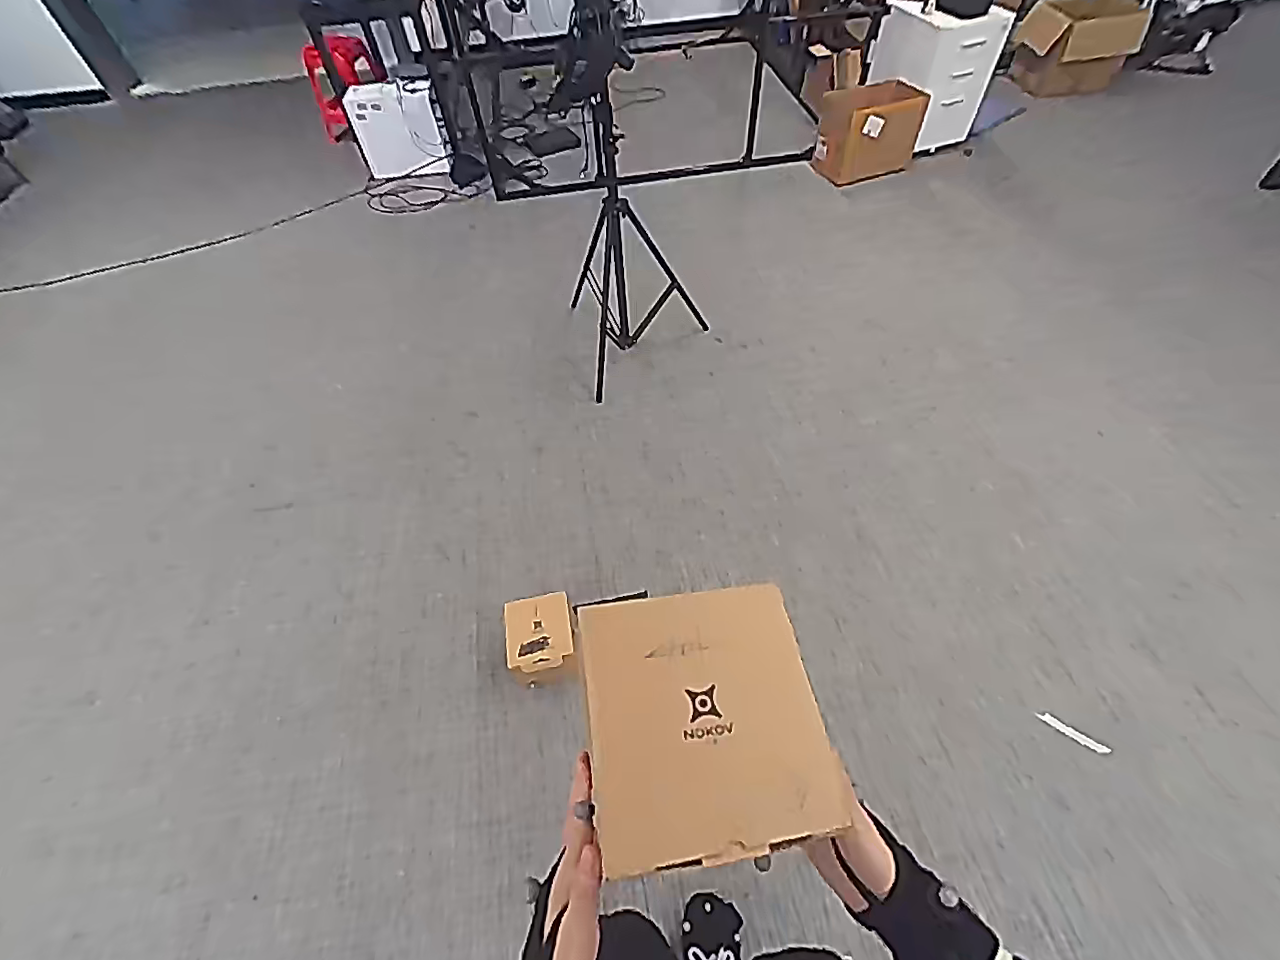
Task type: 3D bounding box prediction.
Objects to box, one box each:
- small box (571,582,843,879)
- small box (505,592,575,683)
[{"bbox_3d":[0.034,0.206,0.450,0.168,0.176,0.179,-5,56,-11],"label":"small box"},{"bbox_3d":[-0.251,0.422,1.429,0.168,0.176,0.179,-11,54,-5],"label":"small box"}]
